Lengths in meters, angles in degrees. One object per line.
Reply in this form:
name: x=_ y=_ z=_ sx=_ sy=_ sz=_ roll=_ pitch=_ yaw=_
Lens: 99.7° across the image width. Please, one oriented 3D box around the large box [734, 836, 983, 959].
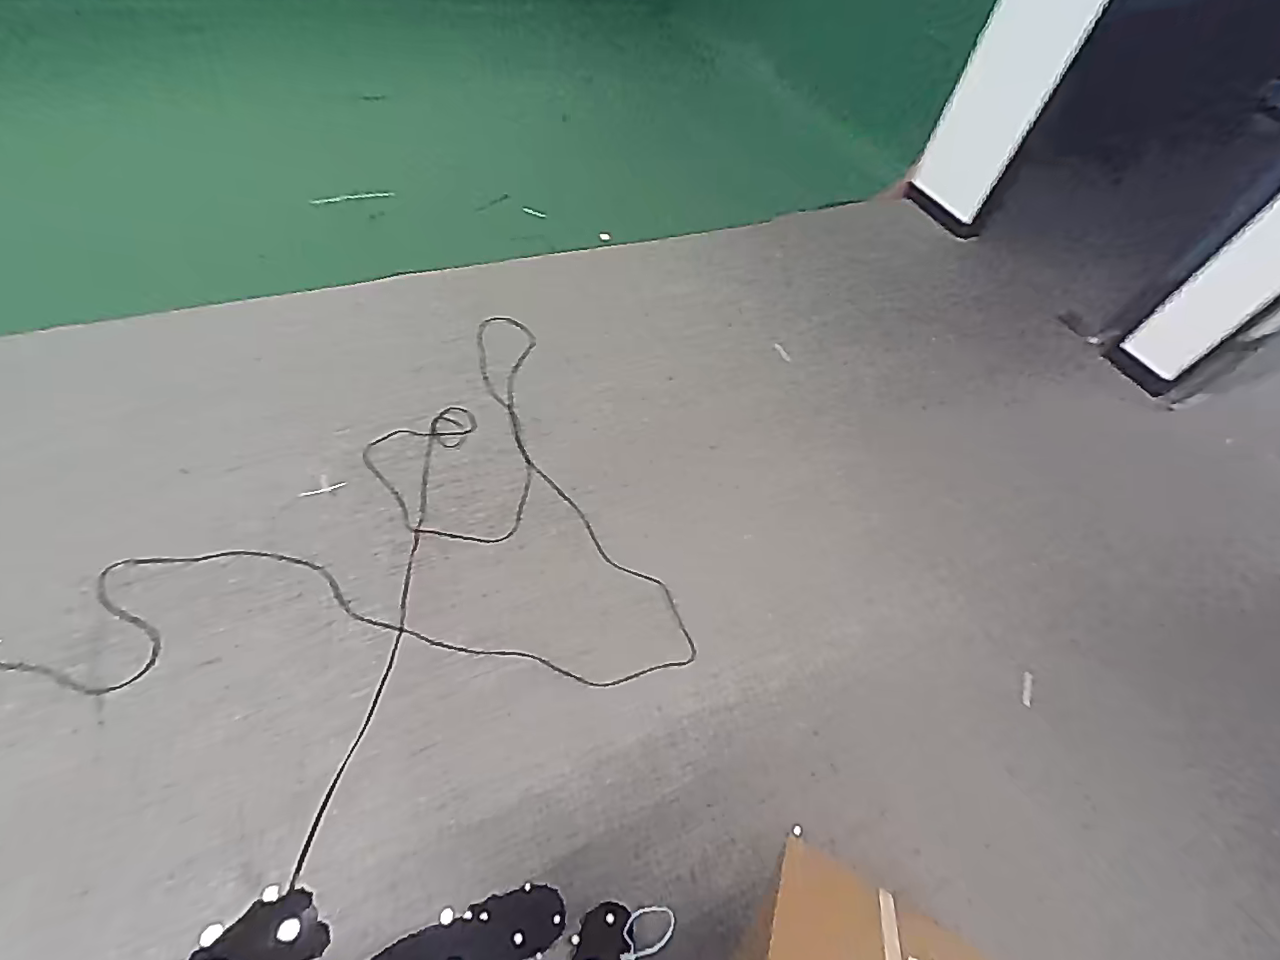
large box: x=0.262 y=0.788 z=0.689 sx=0.320 sy=0.408 sz=0.320 roll=23 pitch=97 yaw=19
